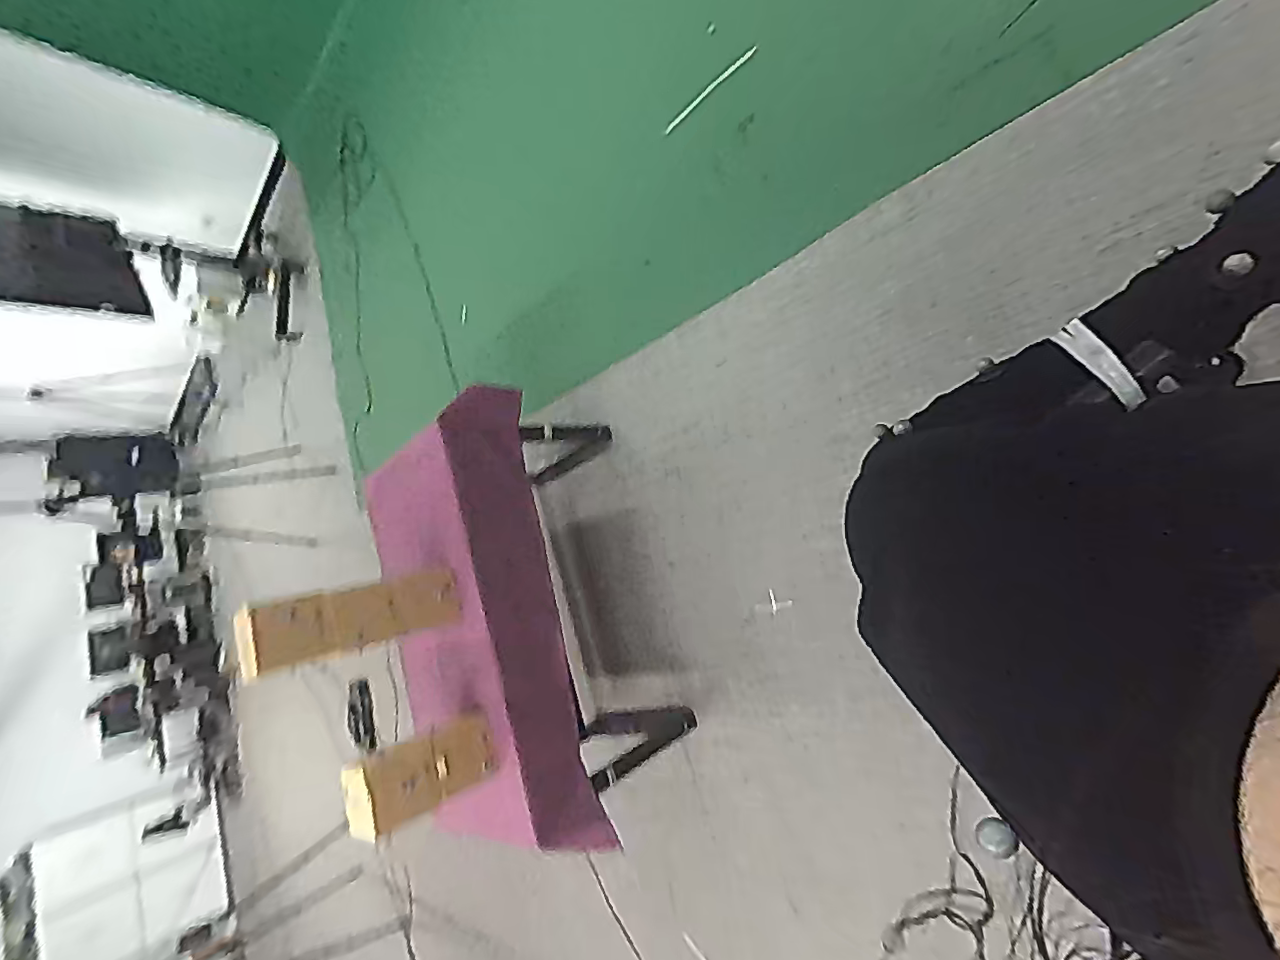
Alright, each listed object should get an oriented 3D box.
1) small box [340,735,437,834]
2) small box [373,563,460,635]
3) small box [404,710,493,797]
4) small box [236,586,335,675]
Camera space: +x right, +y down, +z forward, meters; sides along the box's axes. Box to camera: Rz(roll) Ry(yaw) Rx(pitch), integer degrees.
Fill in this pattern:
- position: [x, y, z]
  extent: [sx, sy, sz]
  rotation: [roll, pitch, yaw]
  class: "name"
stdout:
- position: [-0.635, 0.767, 1.381]
  extent: [0.179, 0.176, 0.168]
  rotation: [-23, 77, 40]
  class: "small box"
- position: [-0.655, 0.348, 1.586]
  extent: [0.179, 0.176, 0.168]
  rotation: [-22, 79, 41]
  class: "small box"
- position: [-0.526, 0.754, 1.503]
  extent: [0.179, 0.176, 0.168]
  rotation: [-26, 76, 41]
  class: "small box"
- position: [-0.880, 0.372, 1.349]
  extent: [0.179, 0.176, 0.168]
  rotation: [-26, 76, 41]
  class: "small box"
